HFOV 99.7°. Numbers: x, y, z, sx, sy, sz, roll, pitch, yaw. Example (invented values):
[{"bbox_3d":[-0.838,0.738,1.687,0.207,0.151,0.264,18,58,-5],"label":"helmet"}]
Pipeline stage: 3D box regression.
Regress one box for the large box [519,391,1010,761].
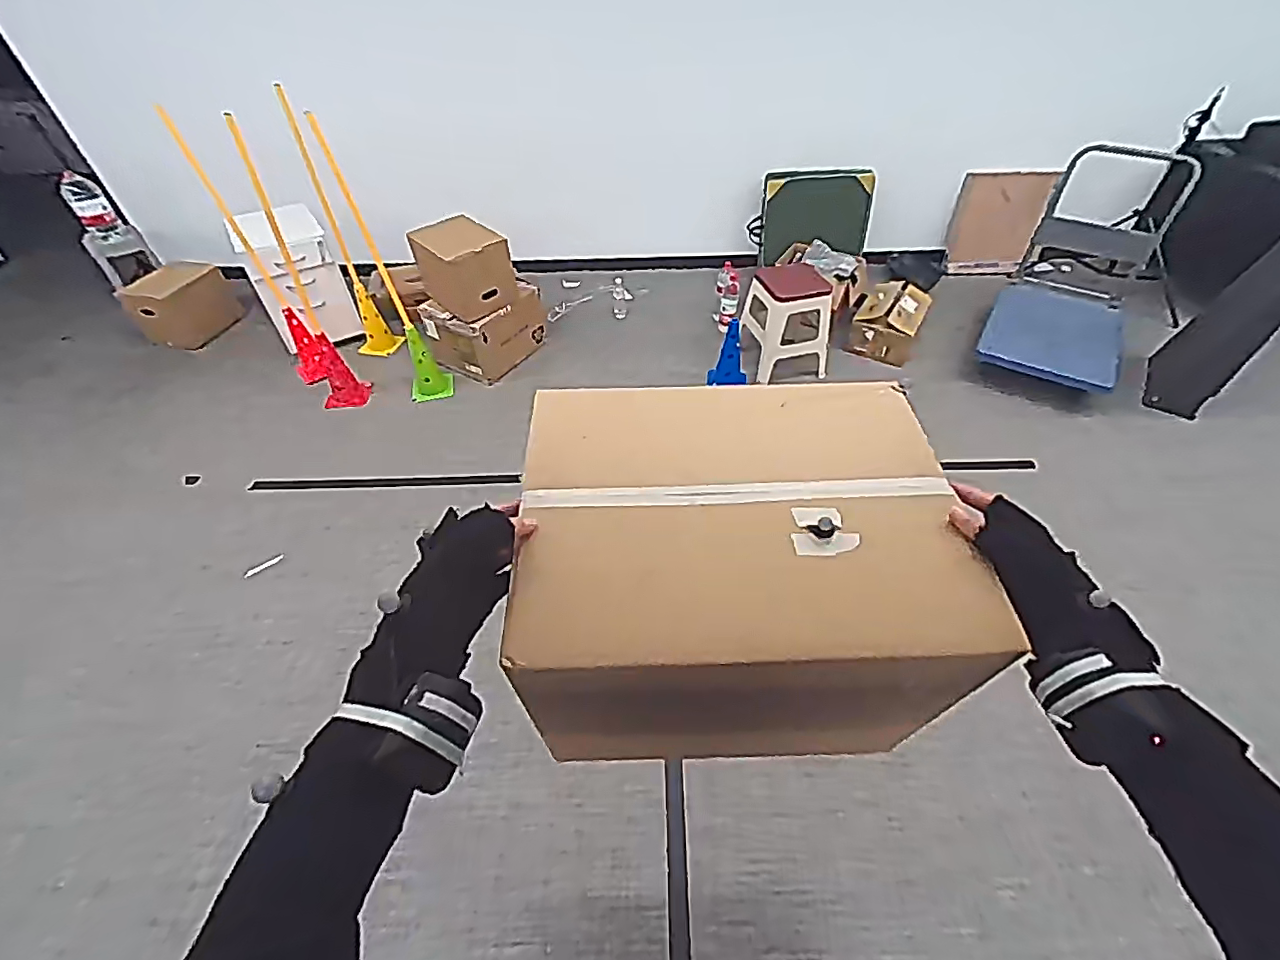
[{"bbox_3d":[0.093,0.117,0.634,0.408,0.320,0.320,-2,51,-1],"label":"large box"}]
